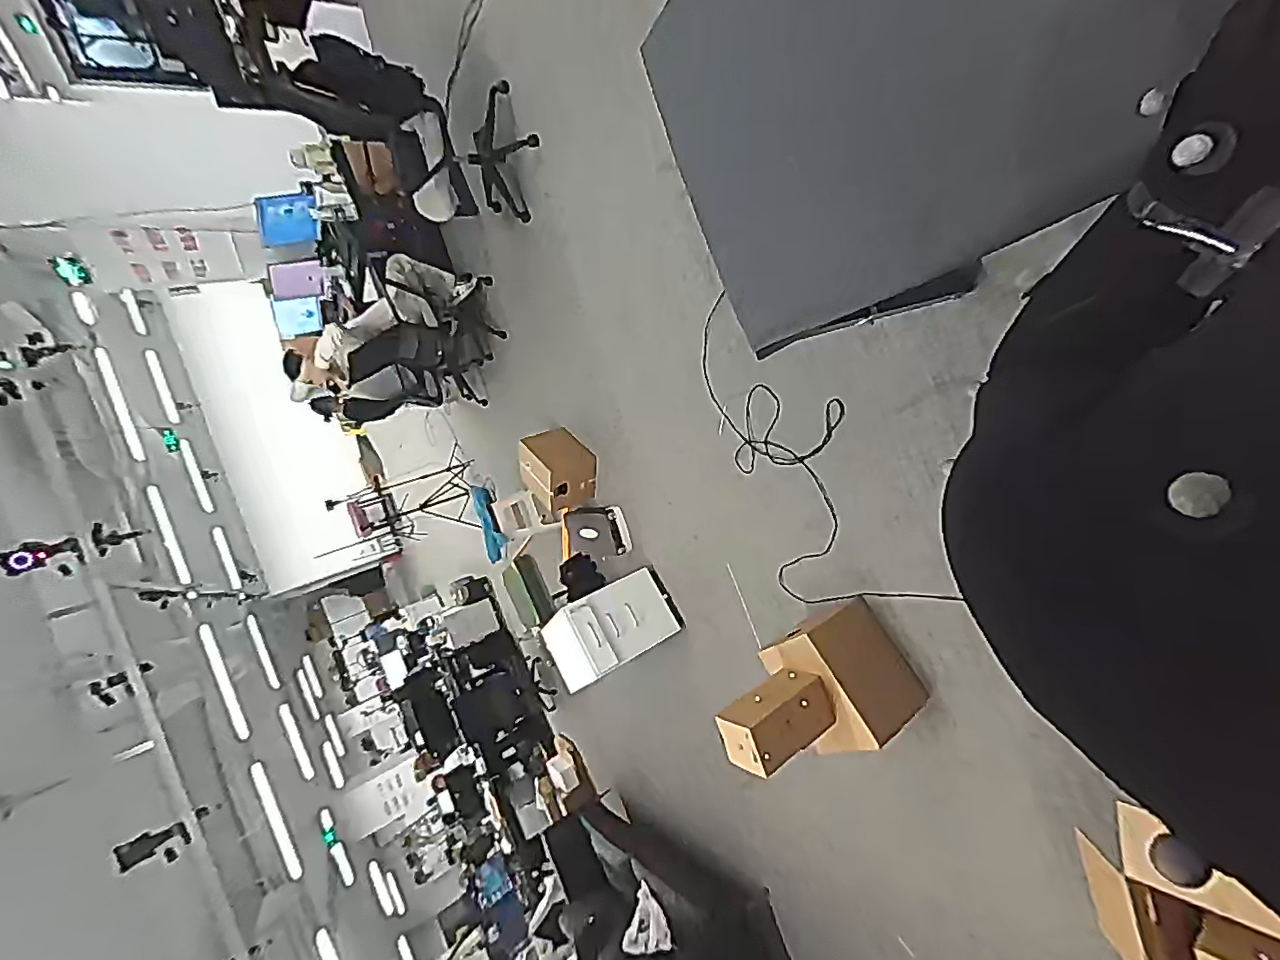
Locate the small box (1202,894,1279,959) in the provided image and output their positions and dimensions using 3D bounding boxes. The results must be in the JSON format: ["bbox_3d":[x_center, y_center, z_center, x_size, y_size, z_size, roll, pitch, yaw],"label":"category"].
[{"bbox_3d":[1.257,0.967,1.053,0.179,0.176,0.168,-17,92,59],"label":"small box"}]

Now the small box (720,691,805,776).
[{"bbox_3d":[0.393,0.803,1.736,0.179,0.176,0.168,-17,94,60],"label":"small box"}]
